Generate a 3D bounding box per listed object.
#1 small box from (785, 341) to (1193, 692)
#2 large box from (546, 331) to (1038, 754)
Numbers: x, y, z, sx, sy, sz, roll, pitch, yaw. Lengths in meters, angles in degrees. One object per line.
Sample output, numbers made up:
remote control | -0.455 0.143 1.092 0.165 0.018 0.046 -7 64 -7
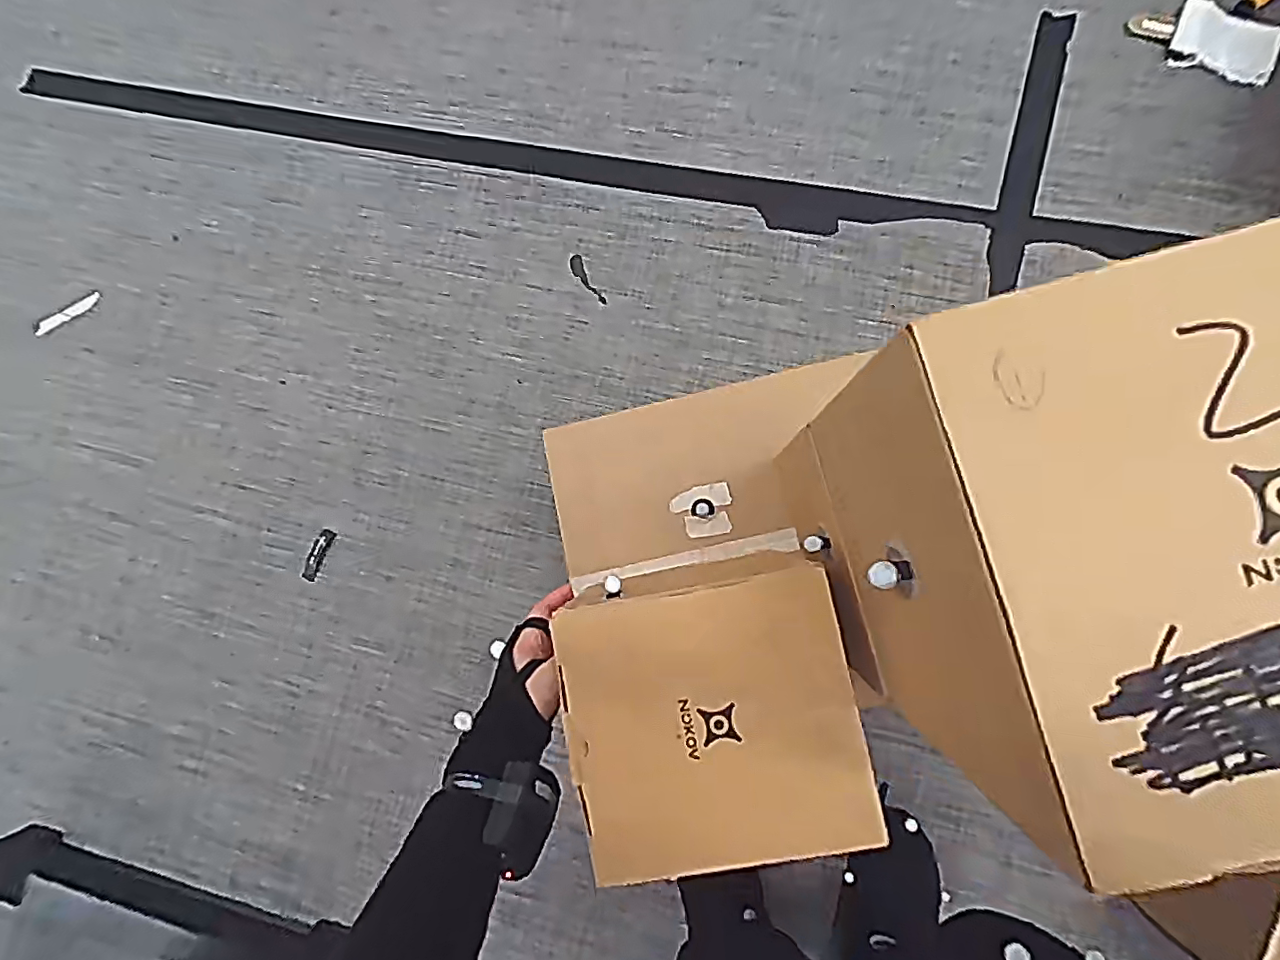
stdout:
small box | 0.214 0.027 0.392 0.168 0.176 0.179 -15 84 6
large box | 0.151 0.069 0.643 0.408 0.320 0.320 -14 82 6
